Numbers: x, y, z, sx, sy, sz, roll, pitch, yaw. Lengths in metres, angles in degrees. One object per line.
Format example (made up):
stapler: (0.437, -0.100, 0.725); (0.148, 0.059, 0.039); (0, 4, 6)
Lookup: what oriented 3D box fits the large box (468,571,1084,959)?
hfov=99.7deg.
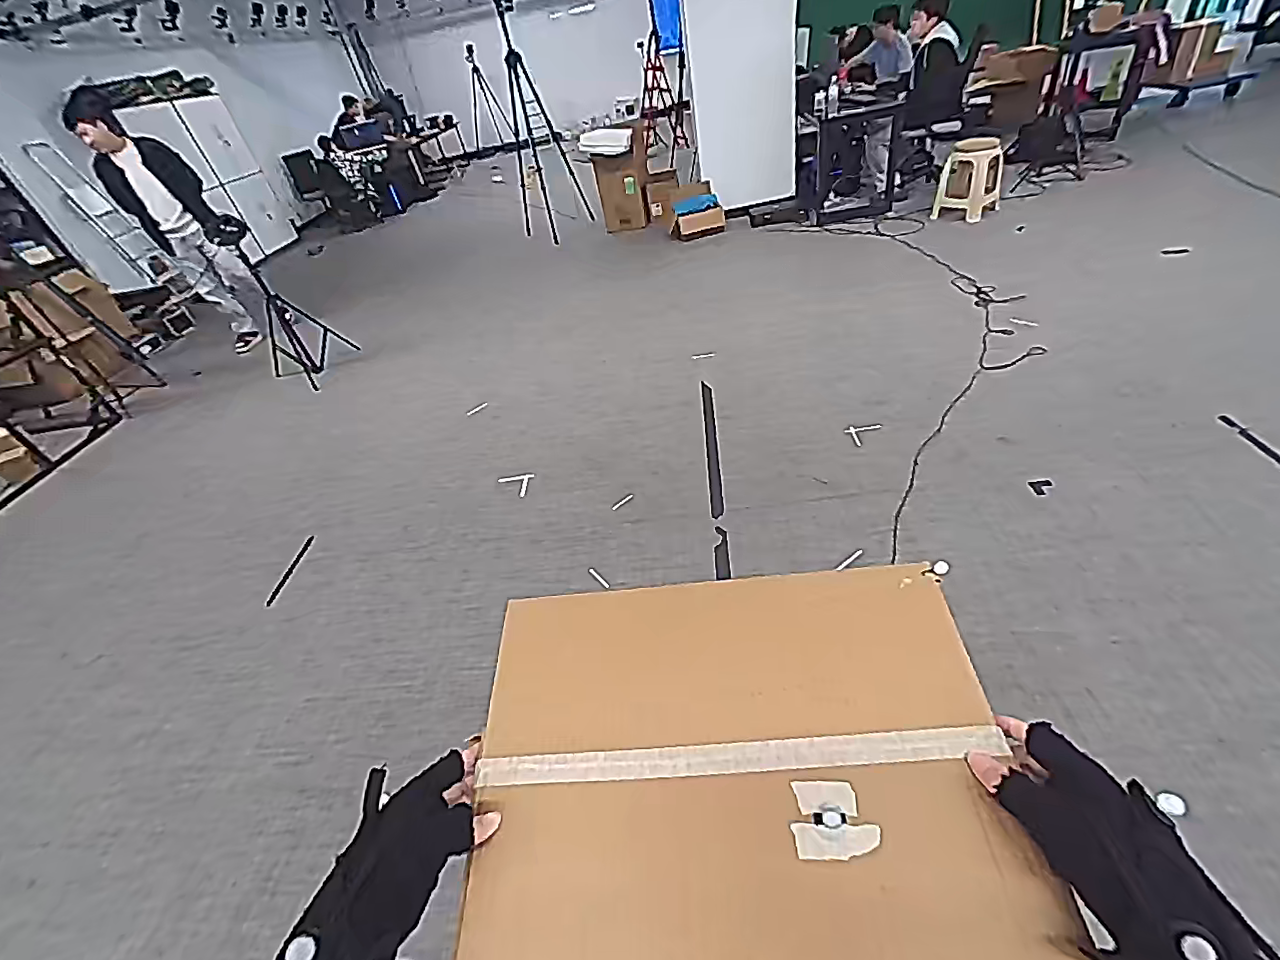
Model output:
large box: (0.095, 0.321, 0.544); (0.408, 0.320, 0.320); (-6, 49, 6)
